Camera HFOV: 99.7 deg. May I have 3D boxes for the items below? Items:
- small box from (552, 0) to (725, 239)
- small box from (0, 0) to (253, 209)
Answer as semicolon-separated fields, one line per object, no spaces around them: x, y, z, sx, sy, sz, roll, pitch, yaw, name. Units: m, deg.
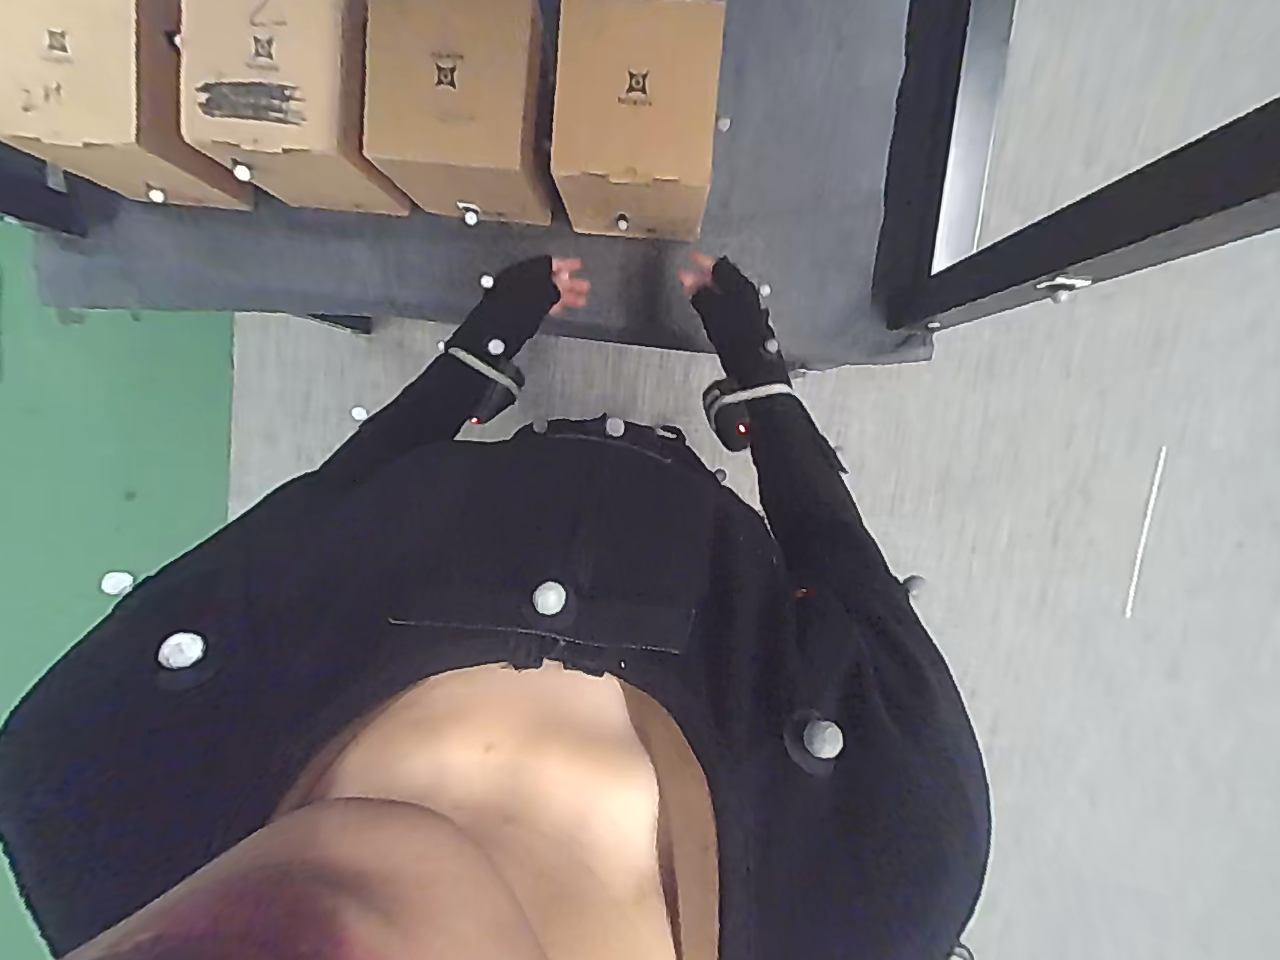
-0.001;-0.401;0.624;0.168;0.176;0.179;4;96;1;small box
-0.584;-0.442;0.623;0.168;0.176;0.179;5;96;0;small box
